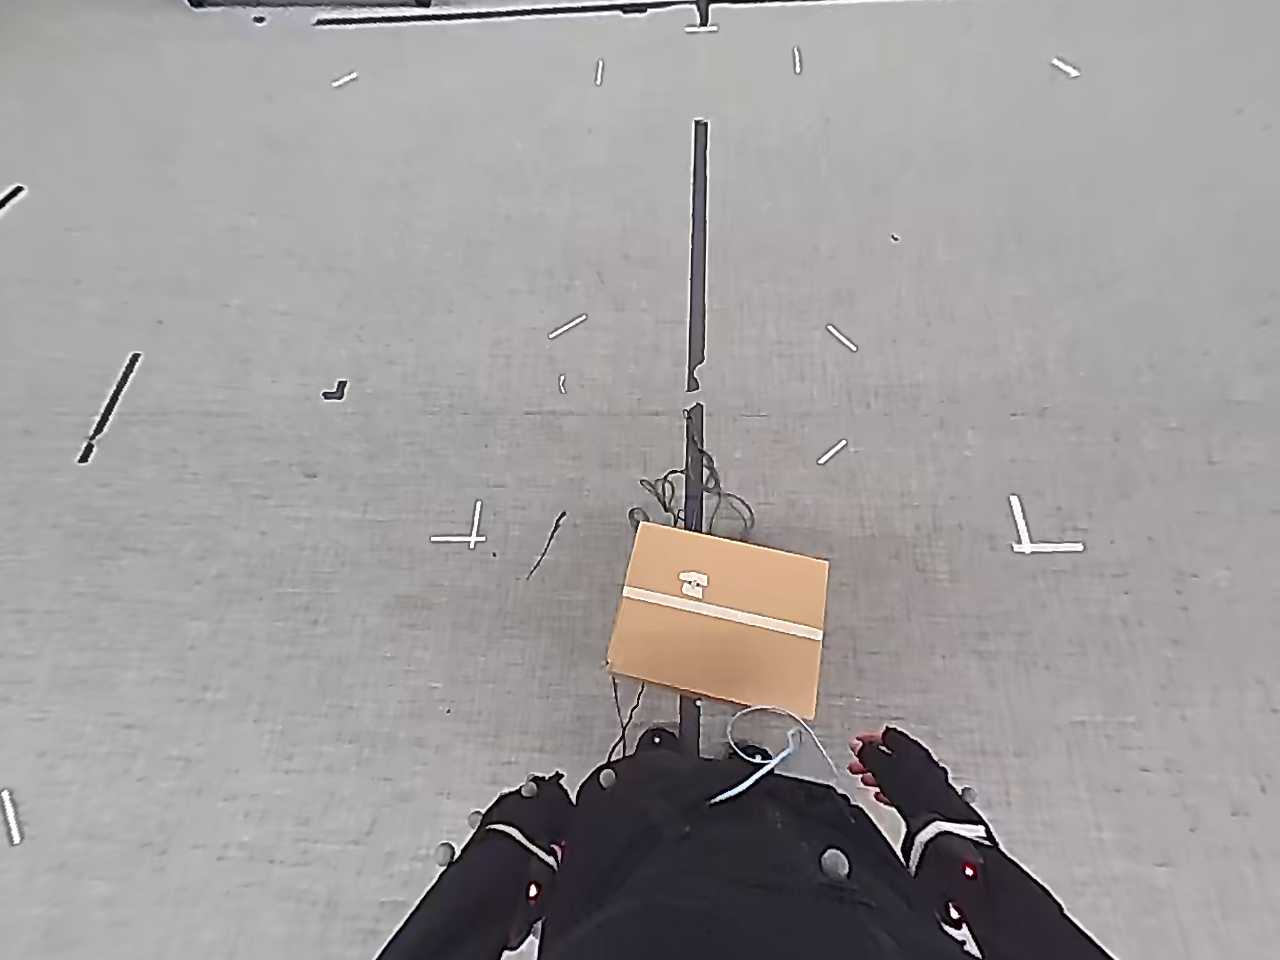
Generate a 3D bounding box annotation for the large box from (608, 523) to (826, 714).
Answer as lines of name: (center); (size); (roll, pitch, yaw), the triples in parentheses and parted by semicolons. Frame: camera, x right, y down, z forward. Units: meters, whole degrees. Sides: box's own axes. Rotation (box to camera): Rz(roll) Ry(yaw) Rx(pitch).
large box: (0.169, 0.323, 1.226); (0.408, 0.320, 0.320); (12, 67, 7)
